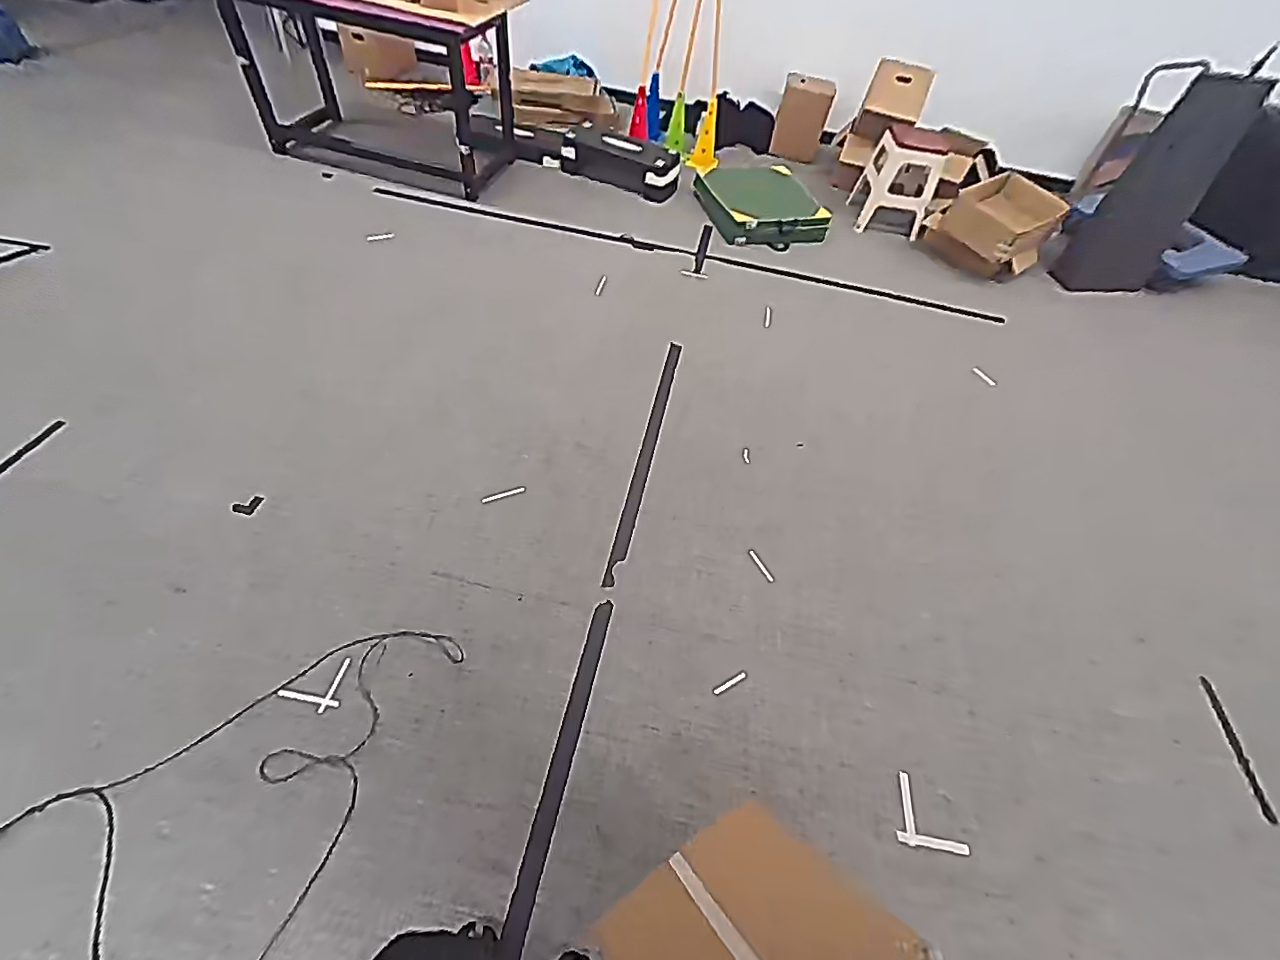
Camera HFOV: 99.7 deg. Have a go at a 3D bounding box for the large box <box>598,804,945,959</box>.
[{"bbox_3d":[0.189,0.714,0.684,0.320,0.408,0.320,-28,90,-20],"label":"large box"}]
